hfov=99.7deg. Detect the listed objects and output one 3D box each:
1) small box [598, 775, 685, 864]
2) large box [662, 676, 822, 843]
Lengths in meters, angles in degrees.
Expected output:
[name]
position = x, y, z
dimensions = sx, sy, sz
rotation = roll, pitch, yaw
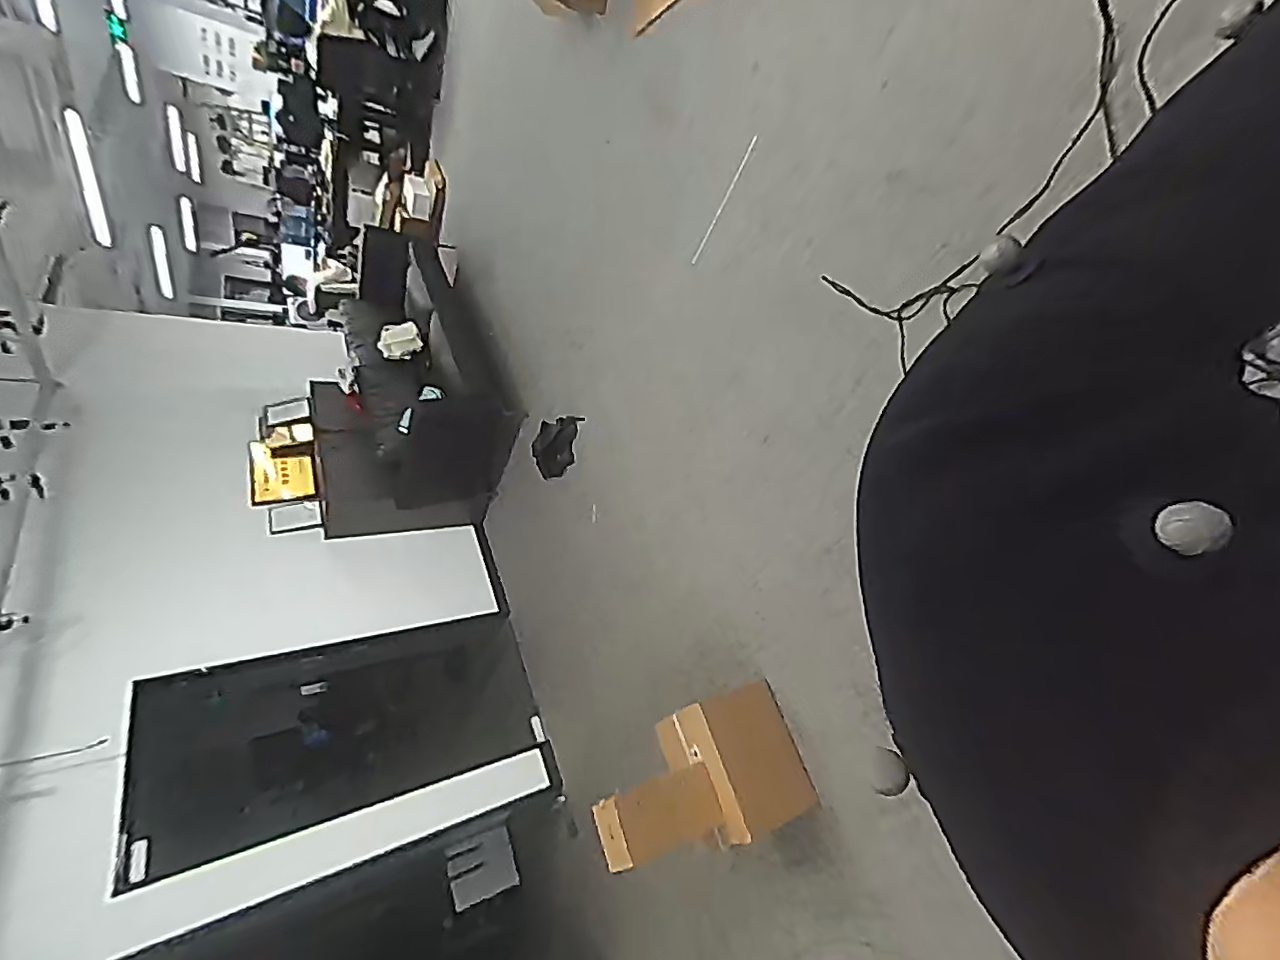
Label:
[small box]
position = 0.002, 0.993, 1.592
dimensions = 0.168, 0.176, 0.179
rotation = -56, 49, 44
[large box]
position = 0.332, 0.935, 1.828
dimensions = 0.320, 0.320, 0.408
rotation = -51, 51, 44
